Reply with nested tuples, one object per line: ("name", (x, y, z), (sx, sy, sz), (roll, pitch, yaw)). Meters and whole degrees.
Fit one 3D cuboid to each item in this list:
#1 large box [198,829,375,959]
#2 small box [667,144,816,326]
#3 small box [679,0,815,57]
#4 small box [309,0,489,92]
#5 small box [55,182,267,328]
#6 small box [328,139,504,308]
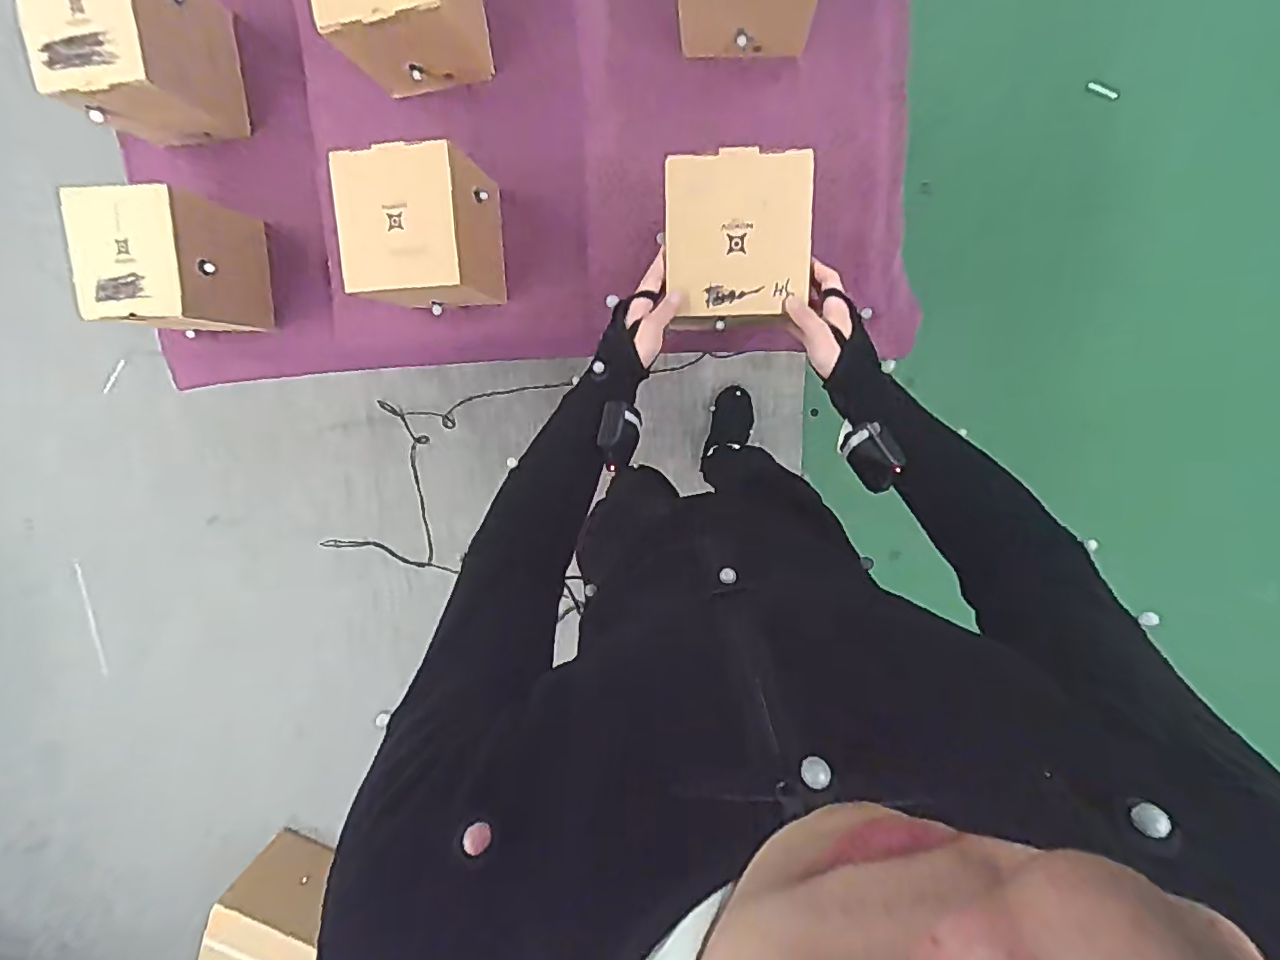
("large box", (-1.255, 1.560, 1.944), (0.408, 0.320, 0.320), (22, 104, 1))
("small box", (0.118, -0.297, 0.689), (0.168, 0.176, 0.179), (0, 101, 5))
("small box", (0.134, -0.658, 0.653), (0.168, 0.176, 0.179), (5, 103, 7))
("small box", (-0.315, -0.655, 0.708), (0.168, 0.176, 0.179), (-6, 102, 7))
("small box", (-0.700, -0.325, 0.814), (0.168, 0.176, 0.179), (1, 100, 6))
("small box", (-0.304, -0.349, 0.767), (0.168, 0.176, 0.179), (0, 101, 7))
